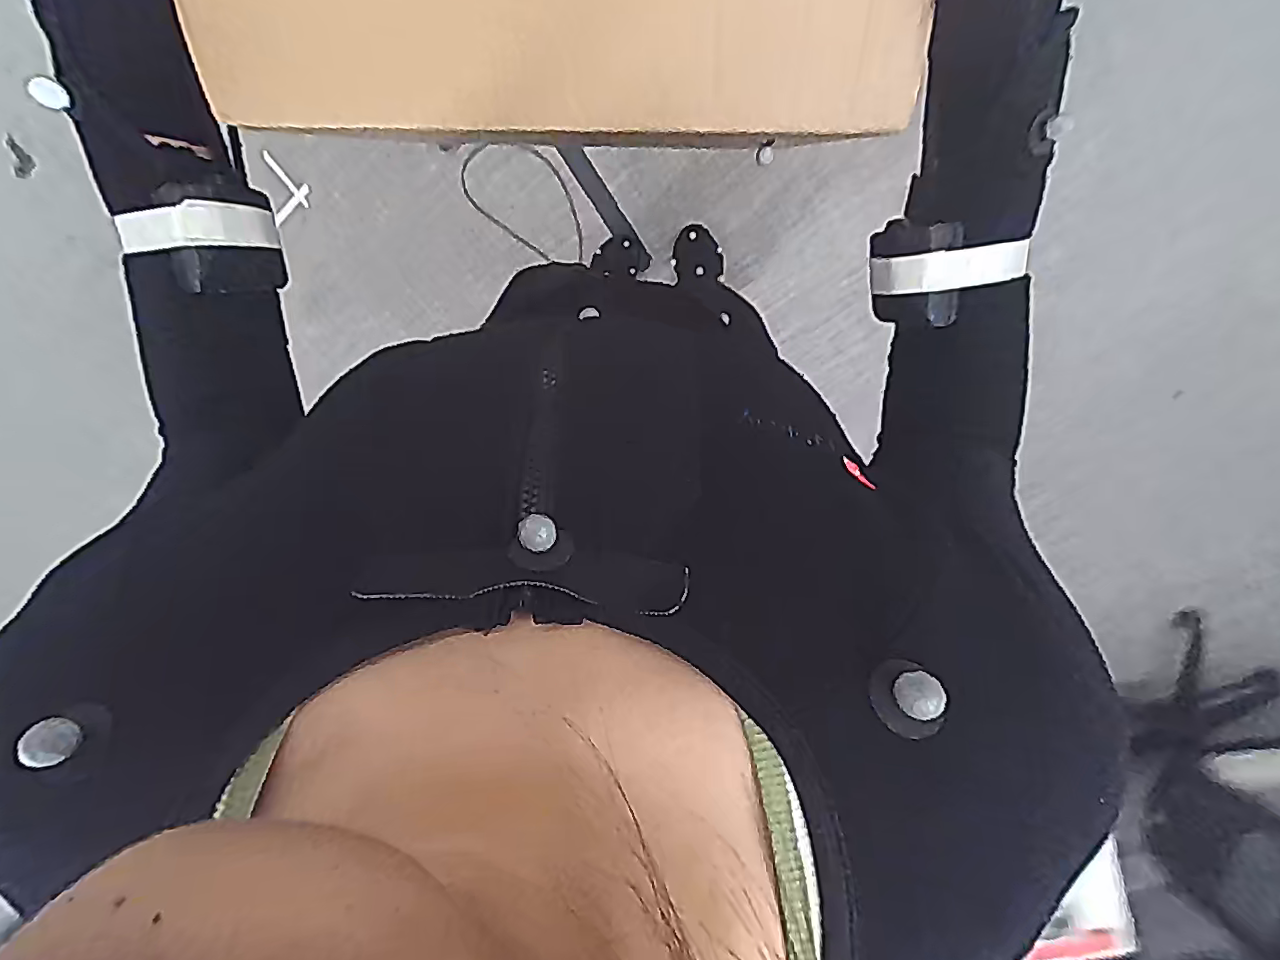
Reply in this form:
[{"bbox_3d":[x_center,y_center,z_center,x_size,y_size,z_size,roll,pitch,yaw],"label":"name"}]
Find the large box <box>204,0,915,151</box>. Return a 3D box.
[{"bbox_3d":[-0.043,-0.419,0.383,0.408,0.320,0.320,0,120,2],"label":"large box"}]
